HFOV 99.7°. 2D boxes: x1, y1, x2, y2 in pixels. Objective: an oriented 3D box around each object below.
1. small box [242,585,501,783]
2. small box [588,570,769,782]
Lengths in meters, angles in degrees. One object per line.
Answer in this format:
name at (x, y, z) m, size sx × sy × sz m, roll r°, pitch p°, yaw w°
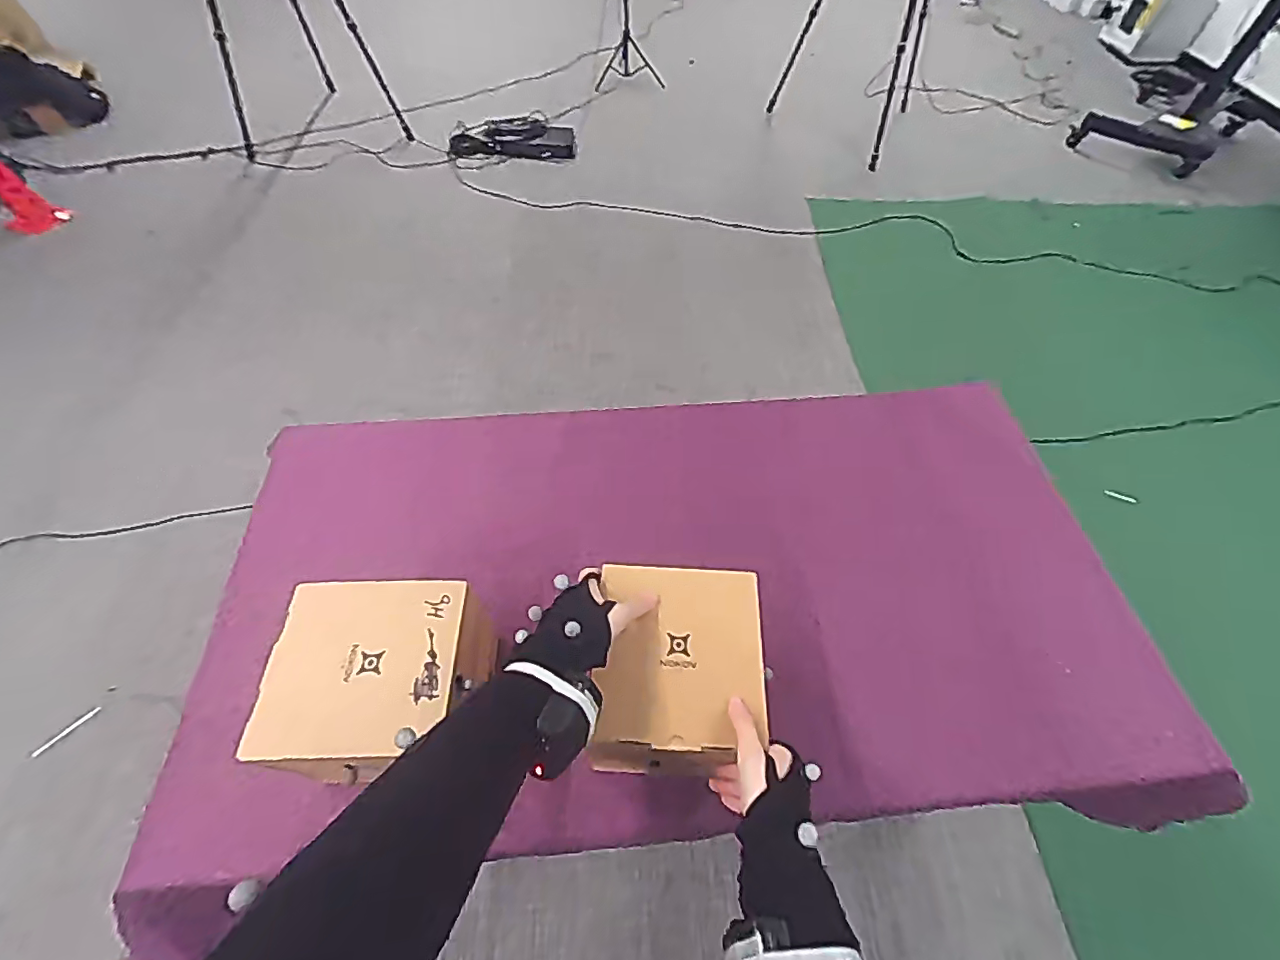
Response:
small box at (-0.261, 0.223, 0.578) m, size 0.179 × 0.176 × 0.168 m, roll 0°, pitch 56°, yaw -2°
small box at (0.037, 0.218, 0.591) m, size 0.168 × 0.176 × 0.179 m, roll 3°, pitch 56°, yaw 1°
